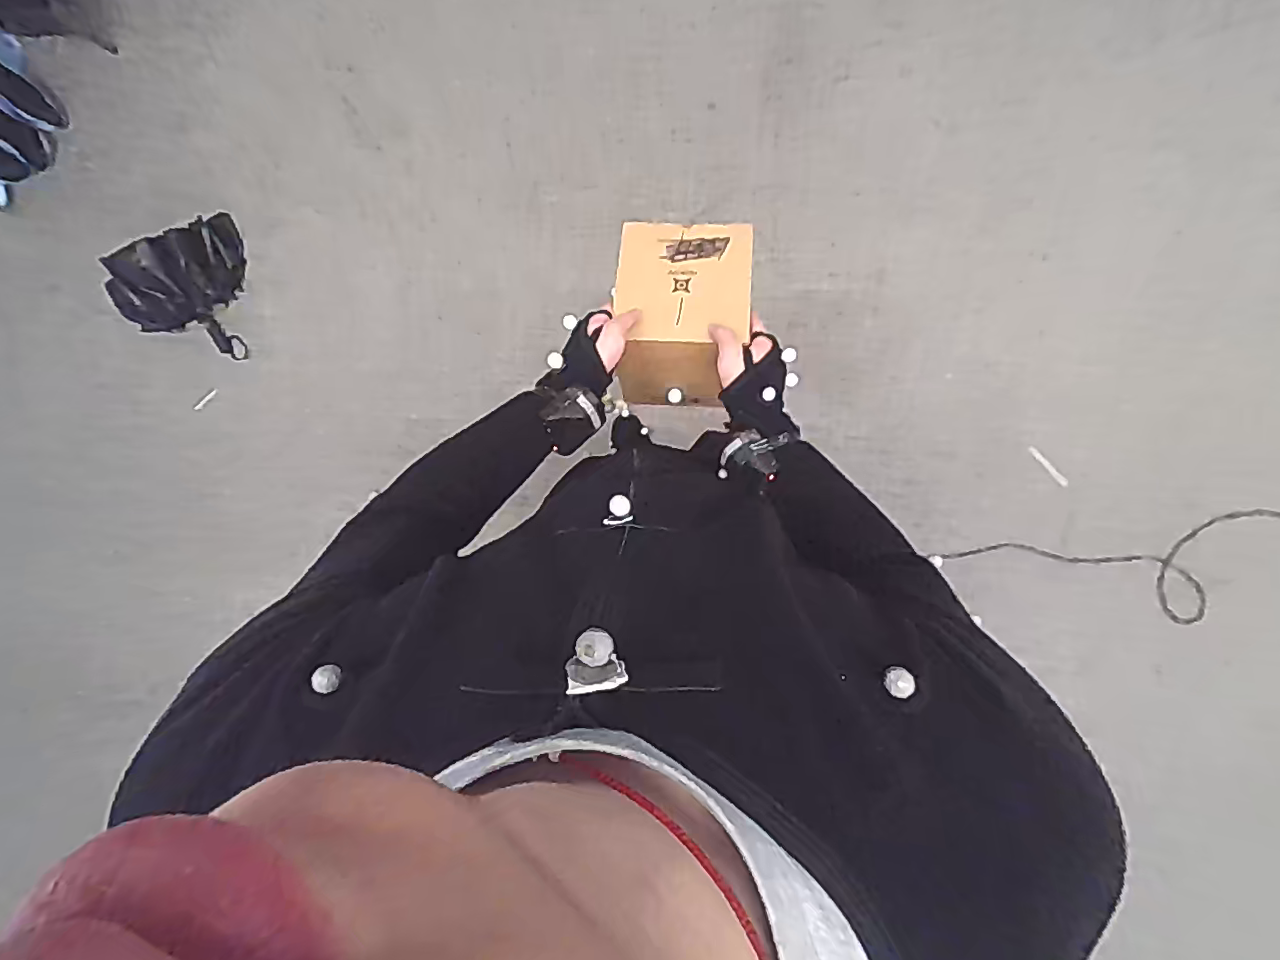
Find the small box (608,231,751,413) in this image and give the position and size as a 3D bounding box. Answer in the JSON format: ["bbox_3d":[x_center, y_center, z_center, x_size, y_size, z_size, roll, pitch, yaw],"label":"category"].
[{"bbox_3d":[0.058,-0.211,0.745,0.168,0.176,0.179,4,71,8],"label":"small box"}]
